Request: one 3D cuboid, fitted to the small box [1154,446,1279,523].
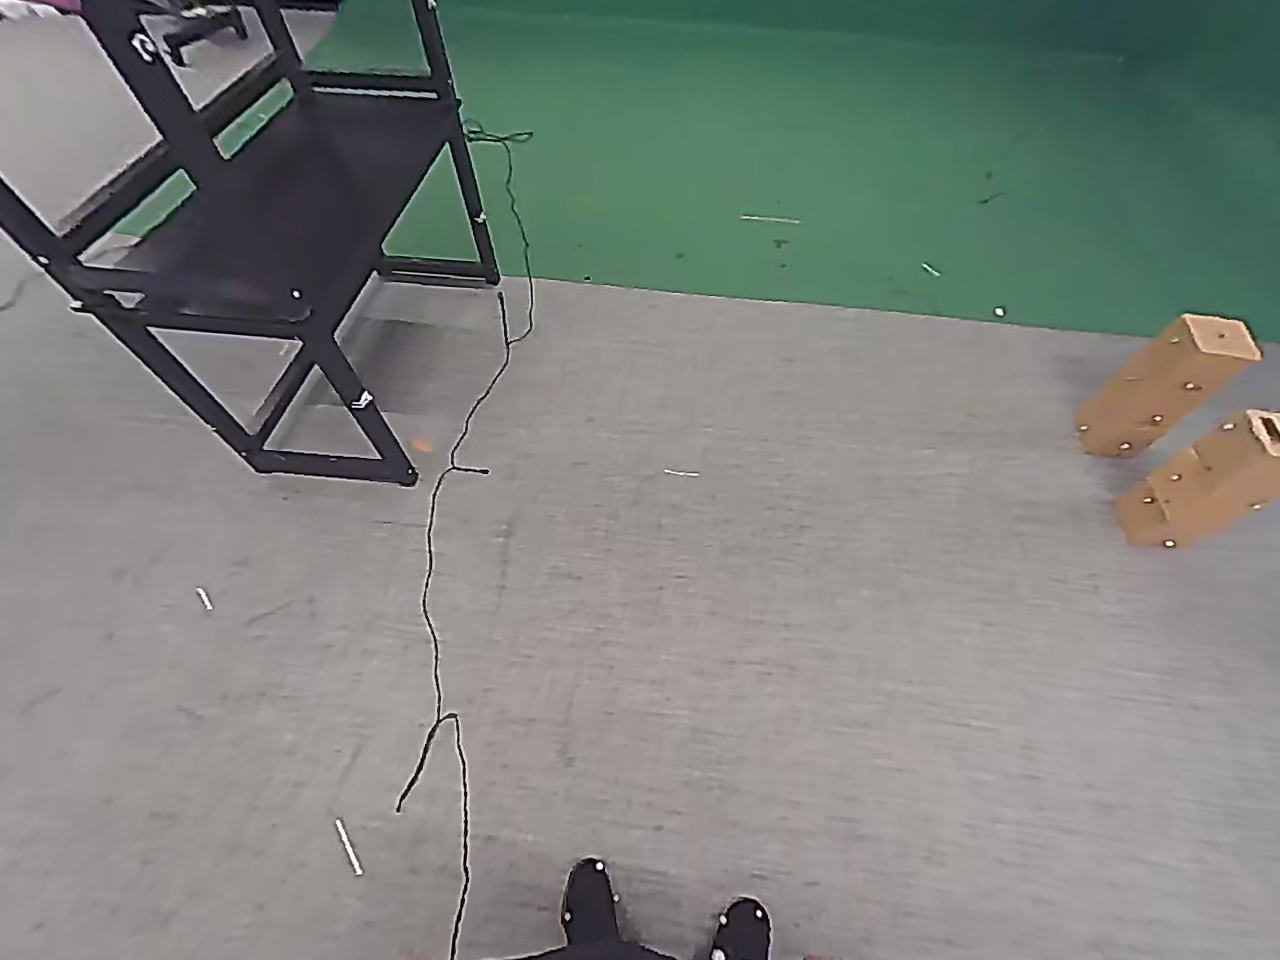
[{"bbox_3d":[1.701,0.017,1.615,0.179,0.176,0.168,5,56,3],"label":"small box"}]

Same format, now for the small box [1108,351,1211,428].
[{"bbox_3d":[1.739,-0.304,1.826,0.168,0.176,0.179,10,57,7],"label":"small box"}]

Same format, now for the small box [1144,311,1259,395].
[{"bbox_3d":[1.741,-0.395,1.691,0.168,0.176,0.179,11,57,8],"label":"small box"}]

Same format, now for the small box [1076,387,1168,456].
[{"bbox_3d":[1.737,-0.207,1.959,0.168,0.176,0.179,9,57,6],"label":"small box"}]

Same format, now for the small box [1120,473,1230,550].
[{"bbox_3d":[1.718,0.103,1.751,0.168,0.176,0.179,8,58,5],"label":"small box"}]
